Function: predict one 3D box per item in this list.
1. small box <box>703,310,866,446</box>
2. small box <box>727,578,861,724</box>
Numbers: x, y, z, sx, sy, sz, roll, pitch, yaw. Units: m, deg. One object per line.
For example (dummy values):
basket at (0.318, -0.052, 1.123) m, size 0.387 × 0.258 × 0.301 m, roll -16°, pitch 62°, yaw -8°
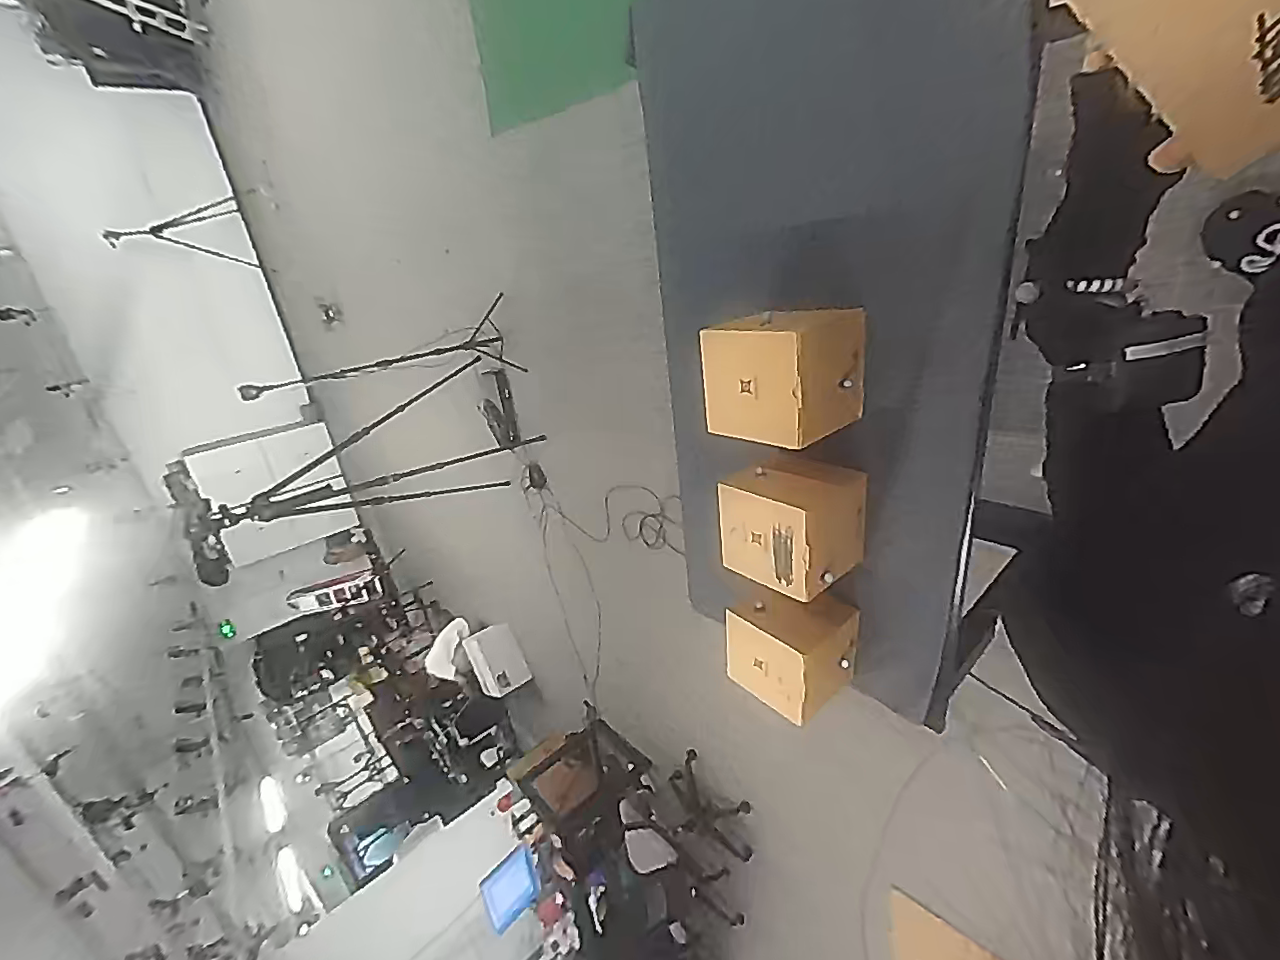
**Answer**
small box at (0.221, -0.165, 0.834) m, size 0.179 × 0.176 × 0.168 m, roll 17°, pitch 122°, yaw 47°
small box at (0.283, 0.306, 1.015) m, size 0.179 × 0.176 × 0.168 m, roll 23°, pitch 127°, yaw 46°
